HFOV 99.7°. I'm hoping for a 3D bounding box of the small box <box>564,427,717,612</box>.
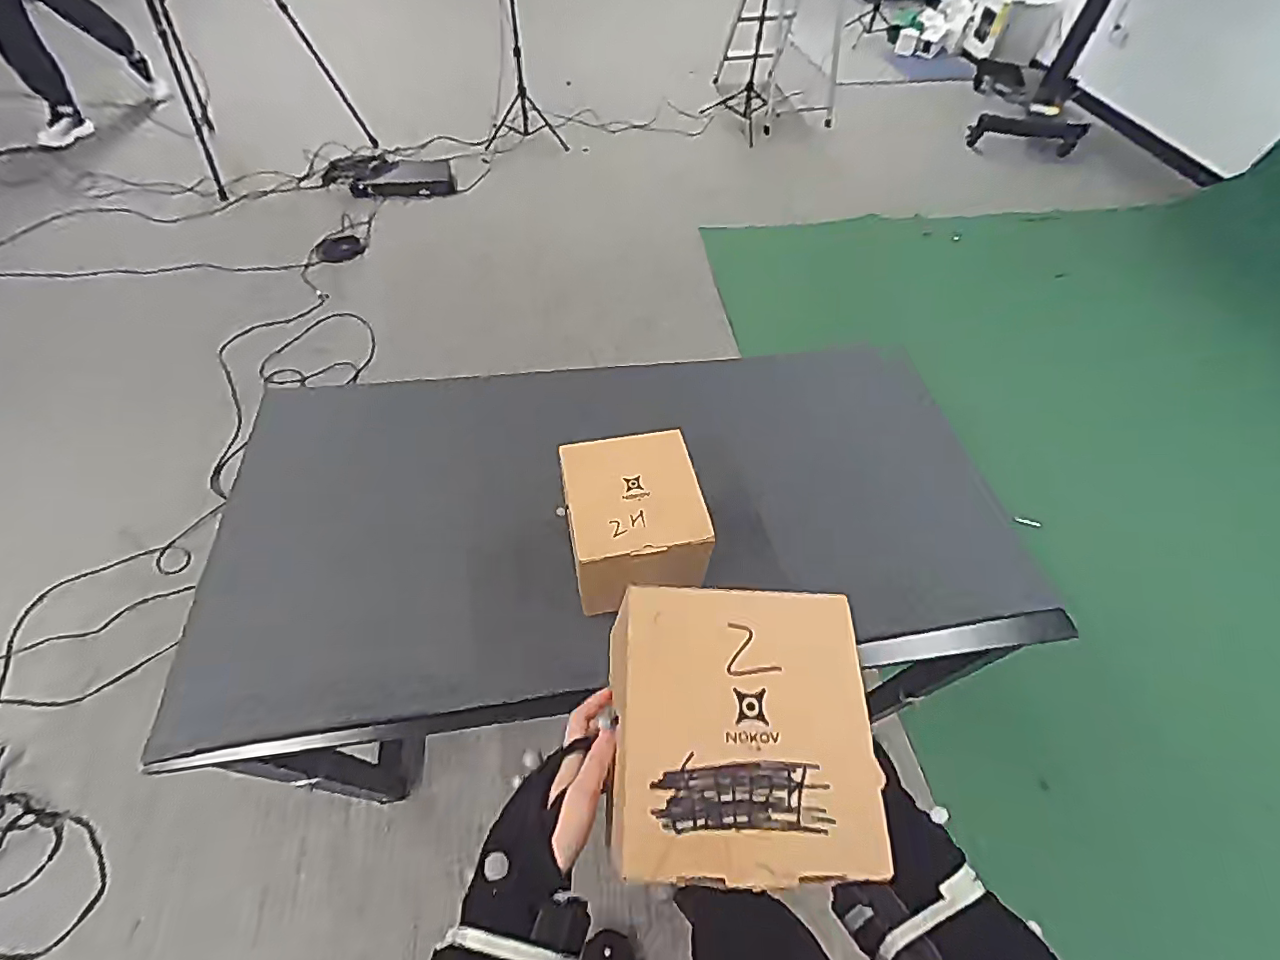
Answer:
[{"bbox_3d":[-0.009,0.055,0.732,0.168,0.176,0.179,-9,55,-9],"label":"small box"}]
